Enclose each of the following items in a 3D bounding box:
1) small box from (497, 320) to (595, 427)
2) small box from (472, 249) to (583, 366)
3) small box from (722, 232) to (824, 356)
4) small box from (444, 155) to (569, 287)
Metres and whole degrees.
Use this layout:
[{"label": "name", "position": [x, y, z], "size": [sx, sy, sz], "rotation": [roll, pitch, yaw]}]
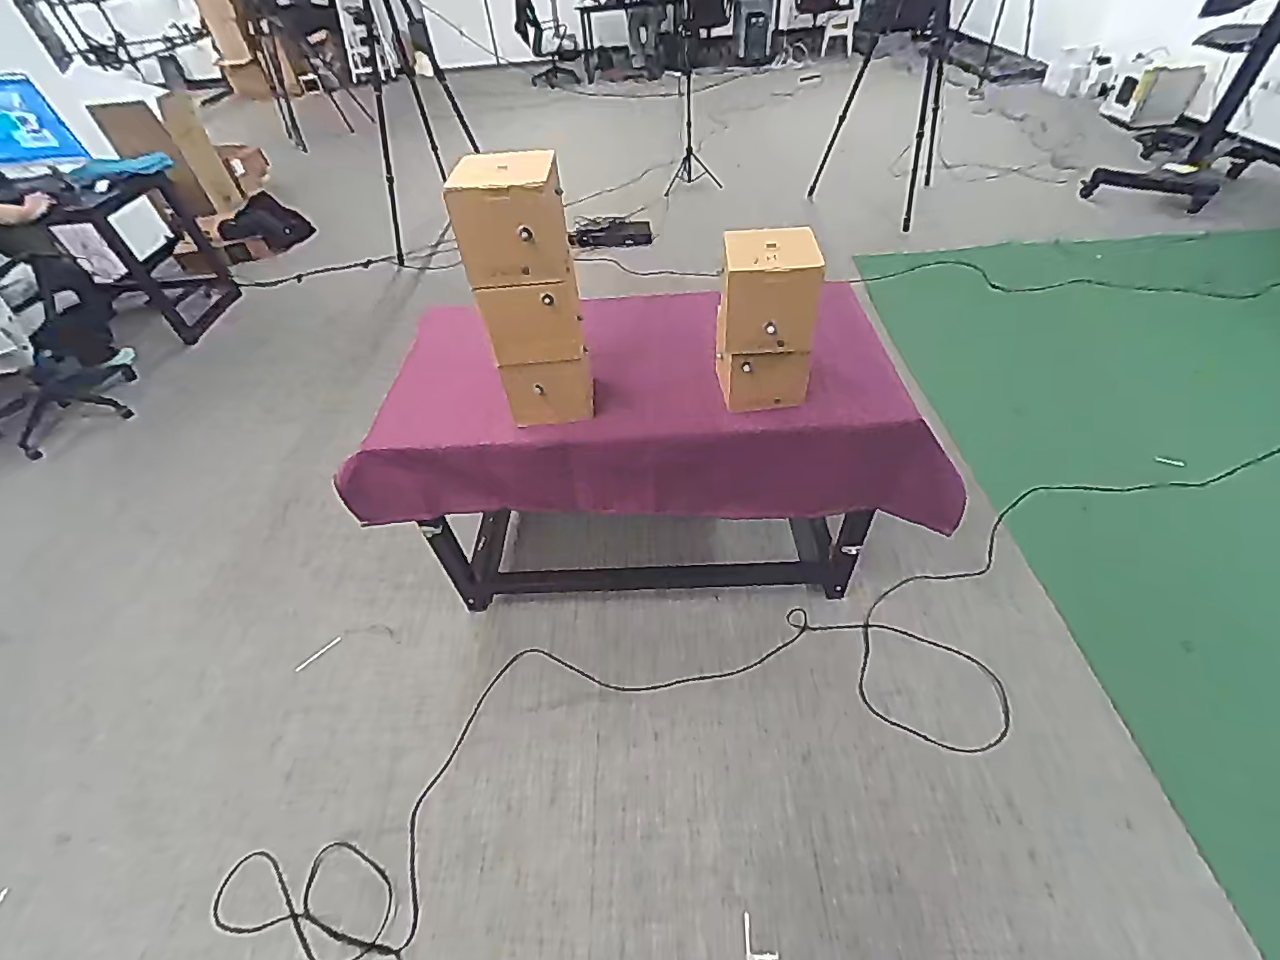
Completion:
[{"label": "small box", "position": [-0.200, -0.232, 1.199], "size": [0.179, 0.176, 0.168], "rotation": [-5, 46, 2]}, {"label": "small box", "position": [-0.214, -0.341, 1.078], "size": [0.179, 0.176, 0.168], "rotation": [-4, 45, 0]}, {"label": "small box", "position": [0.244, -0.357, 1.038], "size": [0.168, 0.176, 0.179], "rotation": [-1, 46, 6]}, {"label": "small box", "position": [-0.224, -0.456, 0.964], "size": [0.168, 0.176, 0.179], "rotation": [-2, 45, 2]}]
